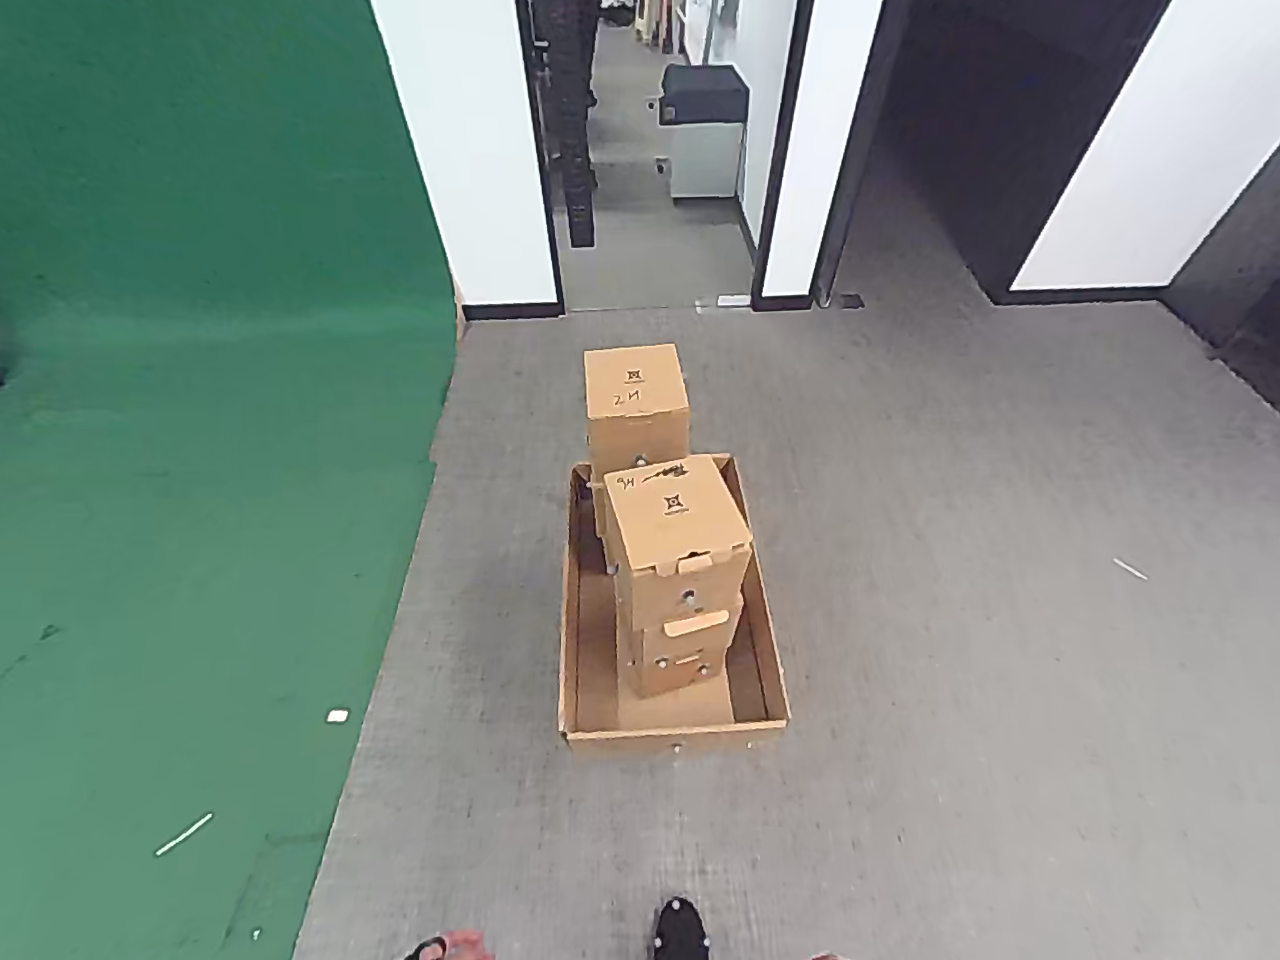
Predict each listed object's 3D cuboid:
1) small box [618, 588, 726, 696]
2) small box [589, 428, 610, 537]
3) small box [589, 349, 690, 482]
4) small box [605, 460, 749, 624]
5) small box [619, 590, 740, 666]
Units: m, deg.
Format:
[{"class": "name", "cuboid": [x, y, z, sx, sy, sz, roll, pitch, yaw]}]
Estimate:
[{"class": "small box", "cuboid": [0.058, 0.306, 1.064, 0.168, 0.176, 0.179, -12, 50, -10]}, {"class": "small box", "cuboid": [-0.007, 0.000, 1.105, 0.179, 0.176, 0.168, -7, 51, -3]}, {"class": "small box", "cuboid": [-0.004, -0.113, 0.985, 0.168, 0.176, 0.179, -5, 51, -2]}, {"class": "small box", "cuboid": [0.047, 0.099, 0.809, 0.168, 0.176, 0.179, -10, 51, -9]}, {"class": "small box", "cuboid": [0.059, 0.203, 0.937, 0.168, 0.176, 0.179, -12, 50, -11]}]
